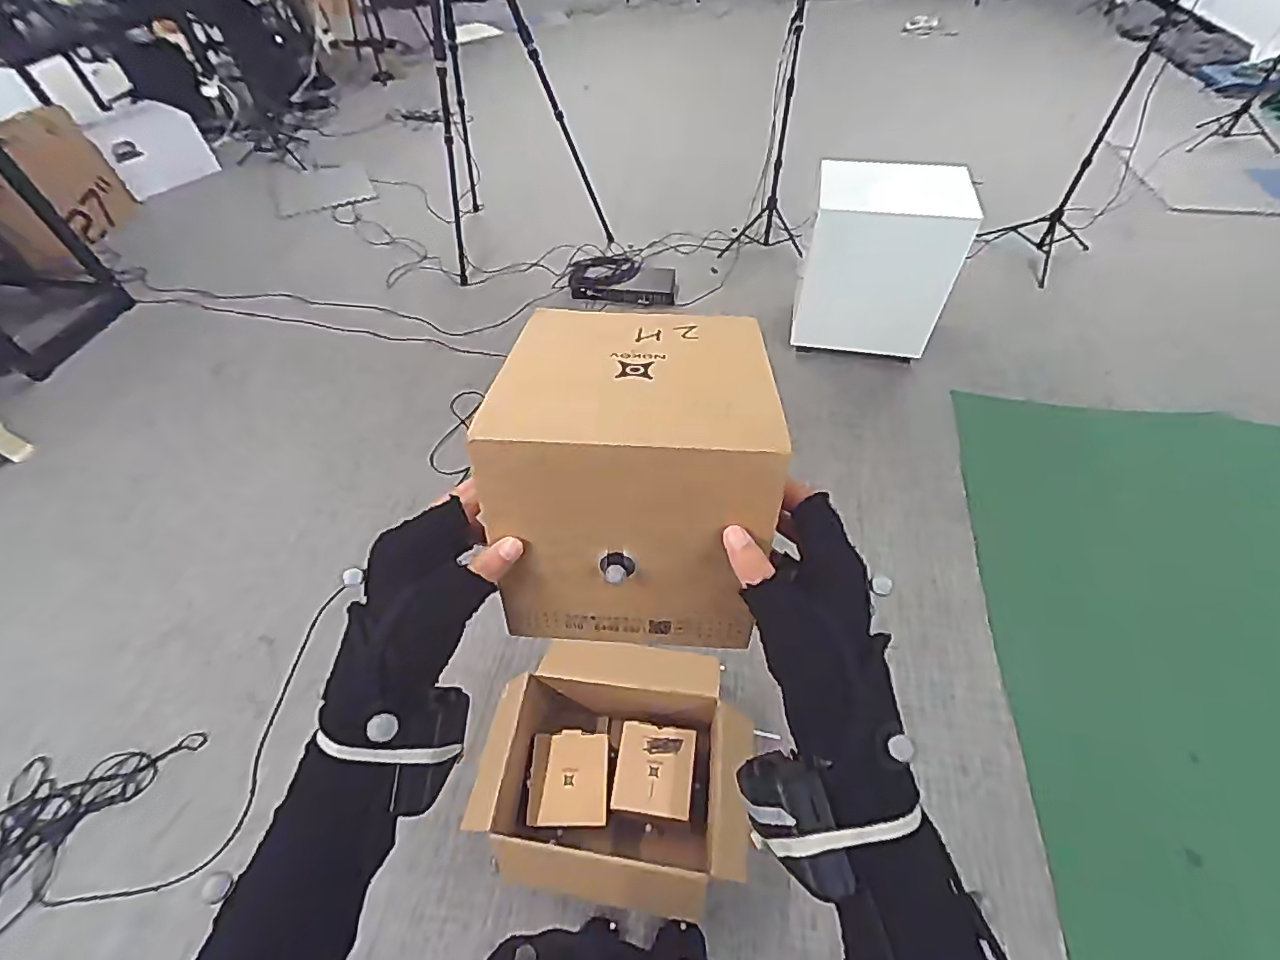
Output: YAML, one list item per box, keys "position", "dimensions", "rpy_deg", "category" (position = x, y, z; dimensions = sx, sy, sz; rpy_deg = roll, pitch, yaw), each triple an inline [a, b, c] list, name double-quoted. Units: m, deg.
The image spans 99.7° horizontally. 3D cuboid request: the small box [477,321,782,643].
- position: [-0.002, -0.001, 0.396]
  dimensions: [0.168, 0.176, 0.179]
  rpy_deg: [3, 39, 2]
  category: "small box"
